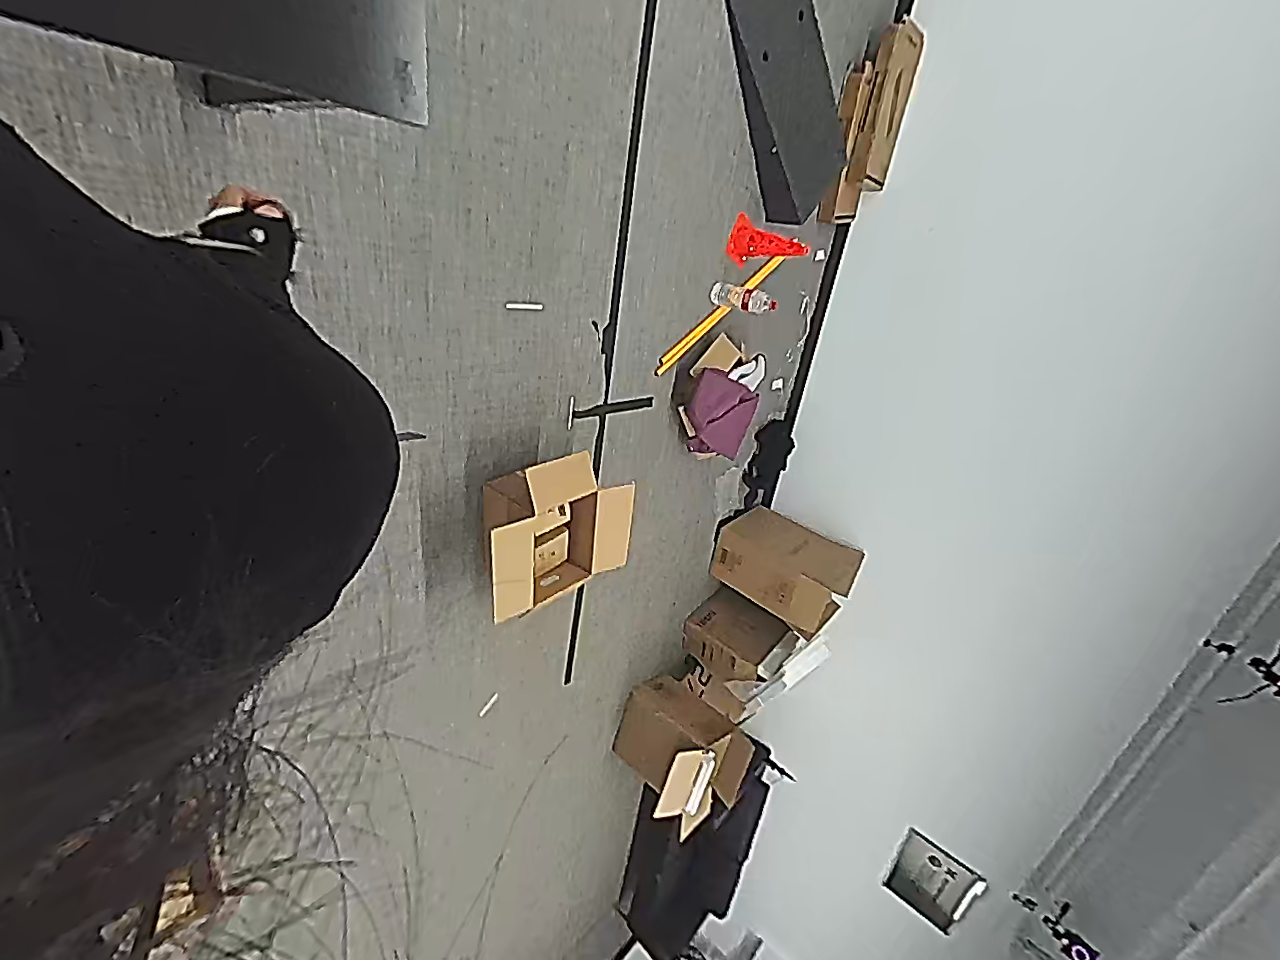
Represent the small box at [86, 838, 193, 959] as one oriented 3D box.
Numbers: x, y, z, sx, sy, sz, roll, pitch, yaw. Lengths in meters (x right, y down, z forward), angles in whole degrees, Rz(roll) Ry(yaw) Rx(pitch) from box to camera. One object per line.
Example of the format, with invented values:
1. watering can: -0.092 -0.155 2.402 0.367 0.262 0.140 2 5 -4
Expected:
1. small box: -1.345 1.124 1.455 0.179 0.176 0.168 -16 122 -46
